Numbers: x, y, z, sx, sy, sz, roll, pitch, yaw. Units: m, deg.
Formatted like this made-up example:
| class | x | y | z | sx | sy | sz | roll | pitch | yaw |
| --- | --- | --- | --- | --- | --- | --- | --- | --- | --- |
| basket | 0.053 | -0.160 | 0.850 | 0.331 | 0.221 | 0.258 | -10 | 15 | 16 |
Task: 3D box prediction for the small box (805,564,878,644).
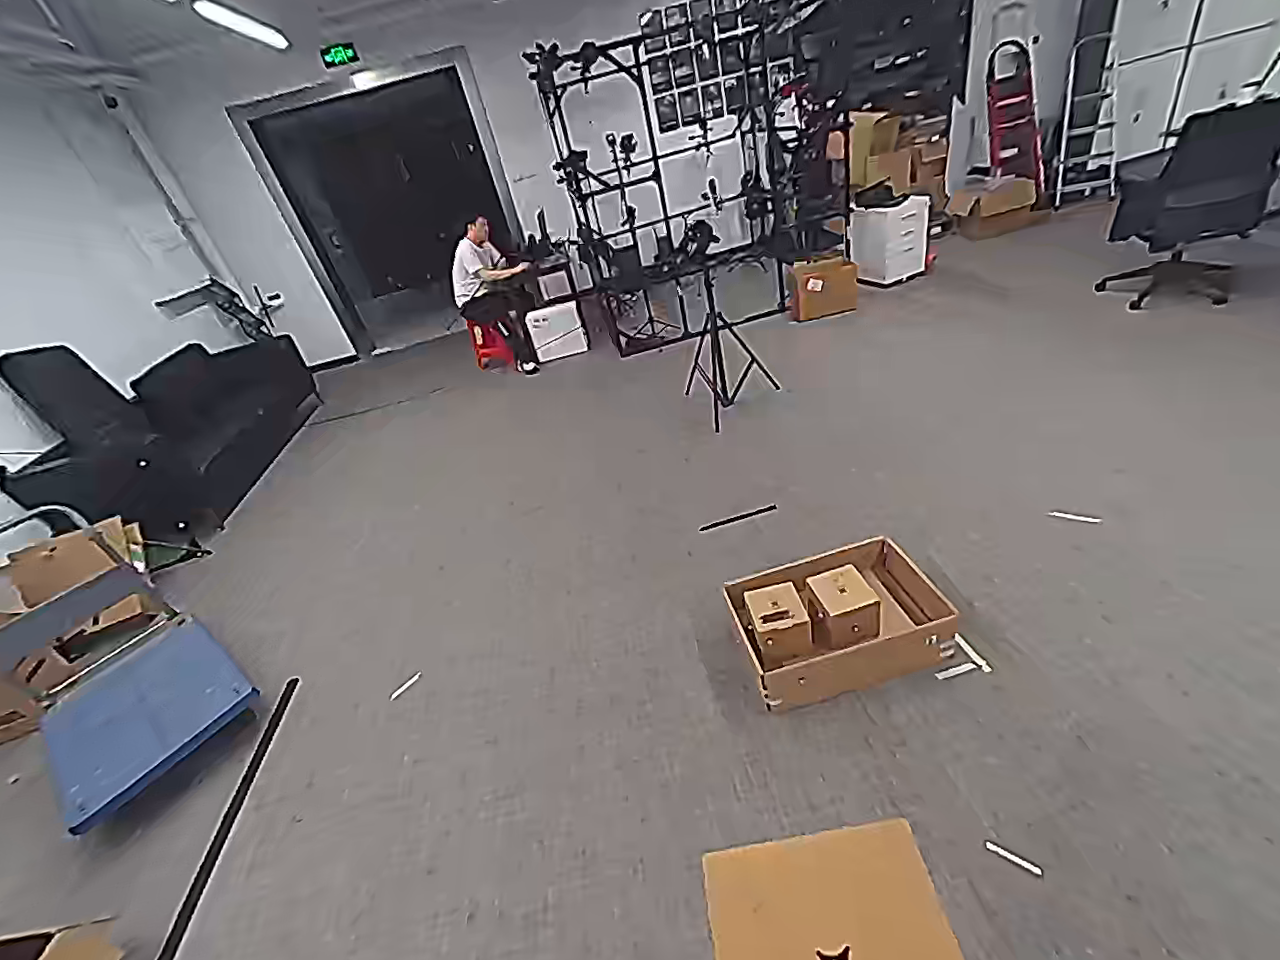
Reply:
| class | x | y | z | sx | sy | sz | roll | pitch | yaw |
| --- | --- | --- | --- | --- | --- | --- | --- | --- | --- |
| small box | 0.657 | 0.412 | 1.764 | 0.168 | 0.176 | 0.179 | -17 | 33 | -3 |
